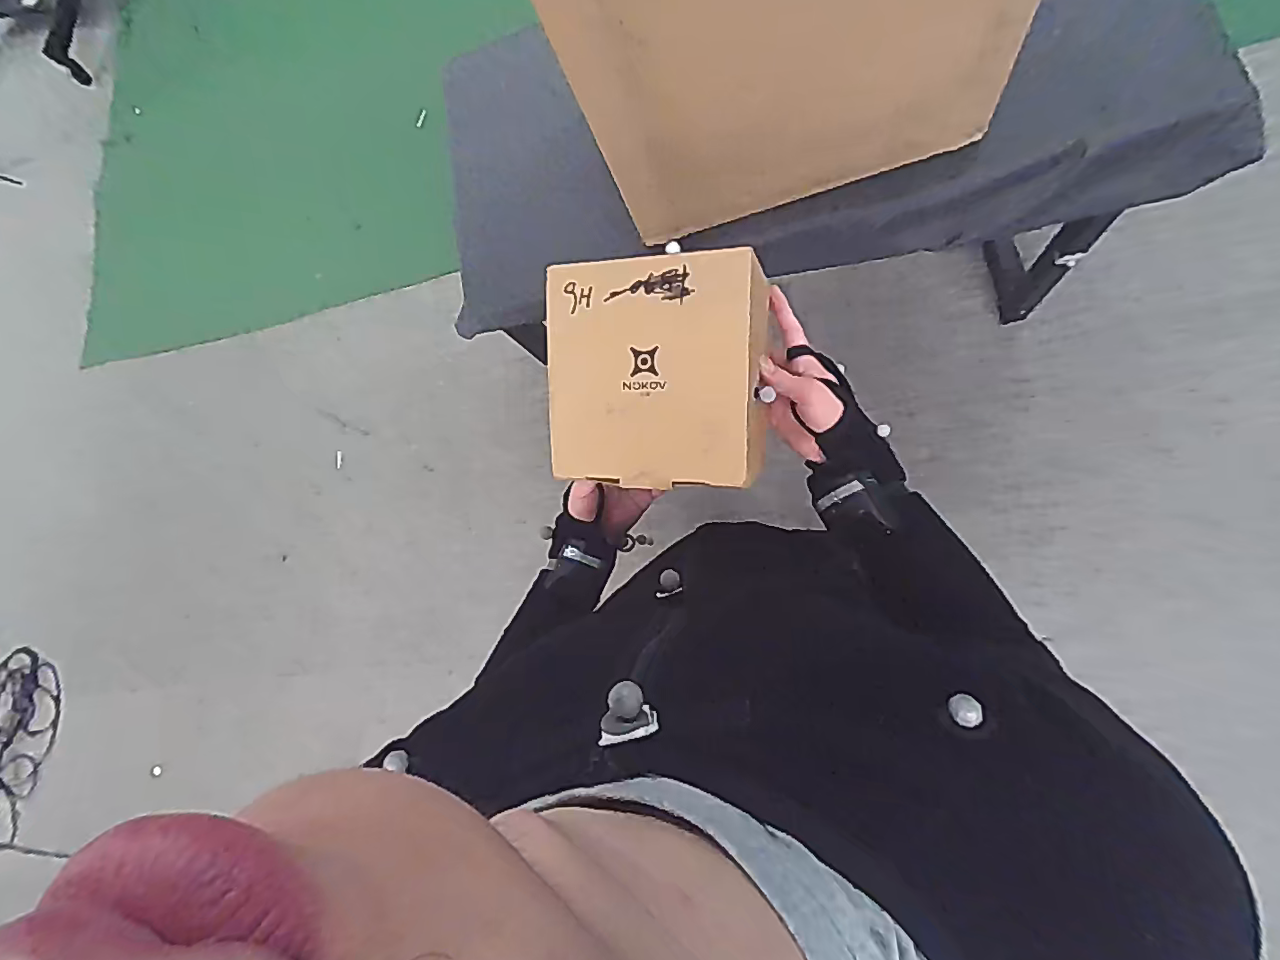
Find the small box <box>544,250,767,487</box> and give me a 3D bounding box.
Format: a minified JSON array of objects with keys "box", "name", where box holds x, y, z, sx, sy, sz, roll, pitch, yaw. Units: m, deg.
[{"box":[0.027,-0.096,0.498,0.168,0.176,0.179,1,100,18],"name":"small box"}]
